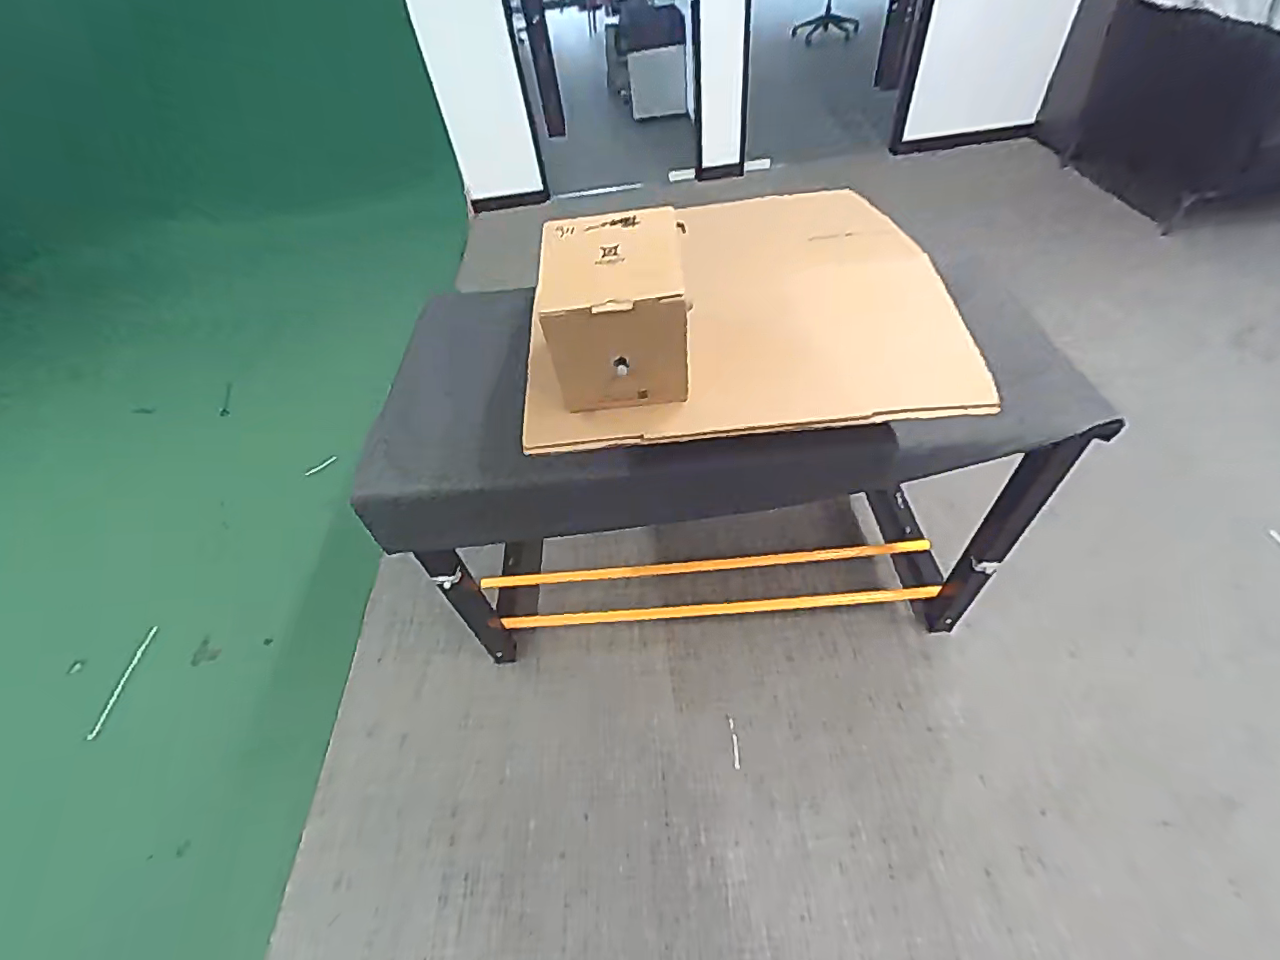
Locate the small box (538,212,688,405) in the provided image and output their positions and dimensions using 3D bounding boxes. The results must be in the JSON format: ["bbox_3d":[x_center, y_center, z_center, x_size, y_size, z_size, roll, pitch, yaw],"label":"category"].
[{"bbox_3d":[-0.028,-0.212,0.702,0.168,0.176,0.179,-5,57,3],"label":"small box"}]
